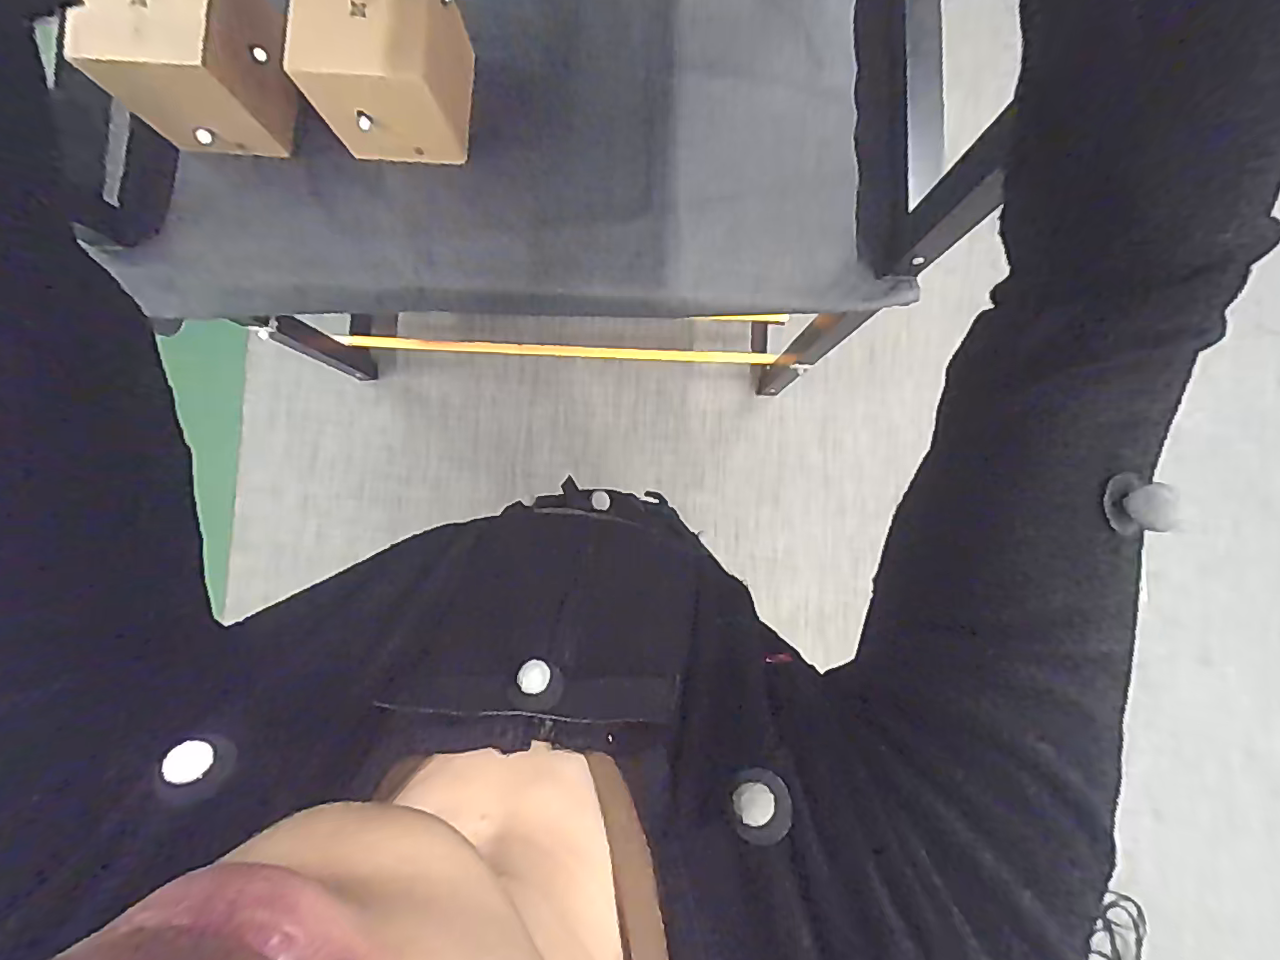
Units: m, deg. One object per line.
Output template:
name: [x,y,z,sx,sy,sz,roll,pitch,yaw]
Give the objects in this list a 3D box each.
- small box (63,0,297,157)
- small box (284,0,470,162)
small box: [-0.588,-0.571,0.717,0.168,0.176,0.179,3,87,0]
small box: [-0.335,-0.559,0.722,0.168,0.176,0.179,3,87,-1]
